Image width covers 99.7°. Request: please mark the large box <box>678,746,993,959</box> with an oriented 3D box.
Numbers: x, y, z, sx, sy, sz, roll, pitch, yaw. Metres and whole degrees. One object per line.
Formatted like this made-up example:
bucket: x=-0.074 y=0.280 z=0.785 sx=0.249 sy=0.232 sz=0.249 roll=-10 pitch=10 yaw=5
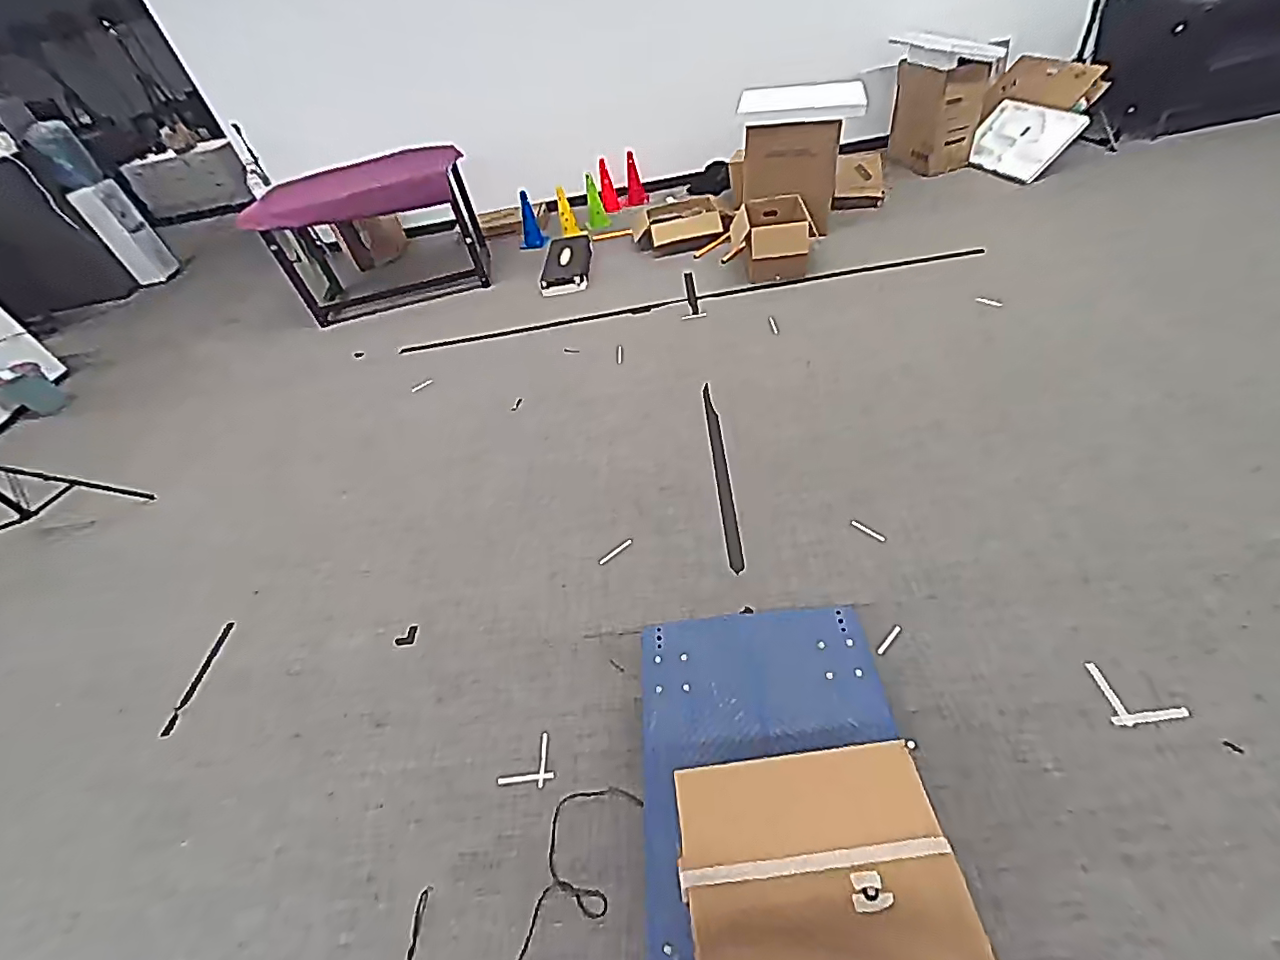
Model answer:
large box: x=0.294 y=0.703 z=0.937 sx=0.408 sy=0.320 sz=0.320 roll=-9 pitch=45 yaw=3
